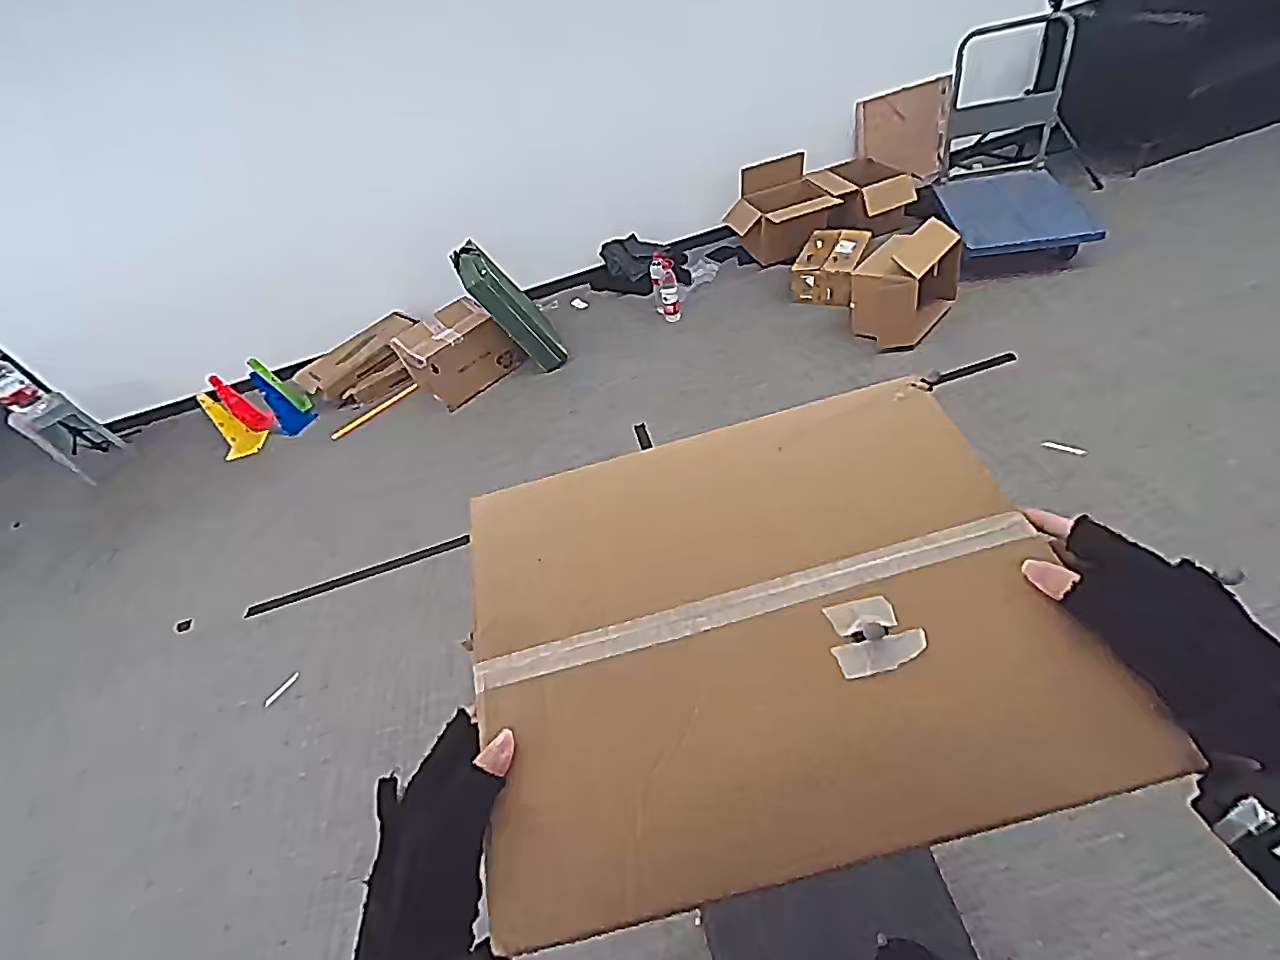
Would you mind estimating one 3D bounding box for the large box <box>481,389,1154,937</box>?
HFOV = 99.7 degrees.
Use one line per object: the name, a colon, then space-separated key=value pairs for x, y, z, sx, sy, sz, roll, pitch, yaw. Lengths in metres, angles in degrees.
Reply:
large box: x=0.103 y=0.174 z=0.522 sx=0.408 sy=0.320 sz=0.320 roll=-16 pitch=56 yaw=0
